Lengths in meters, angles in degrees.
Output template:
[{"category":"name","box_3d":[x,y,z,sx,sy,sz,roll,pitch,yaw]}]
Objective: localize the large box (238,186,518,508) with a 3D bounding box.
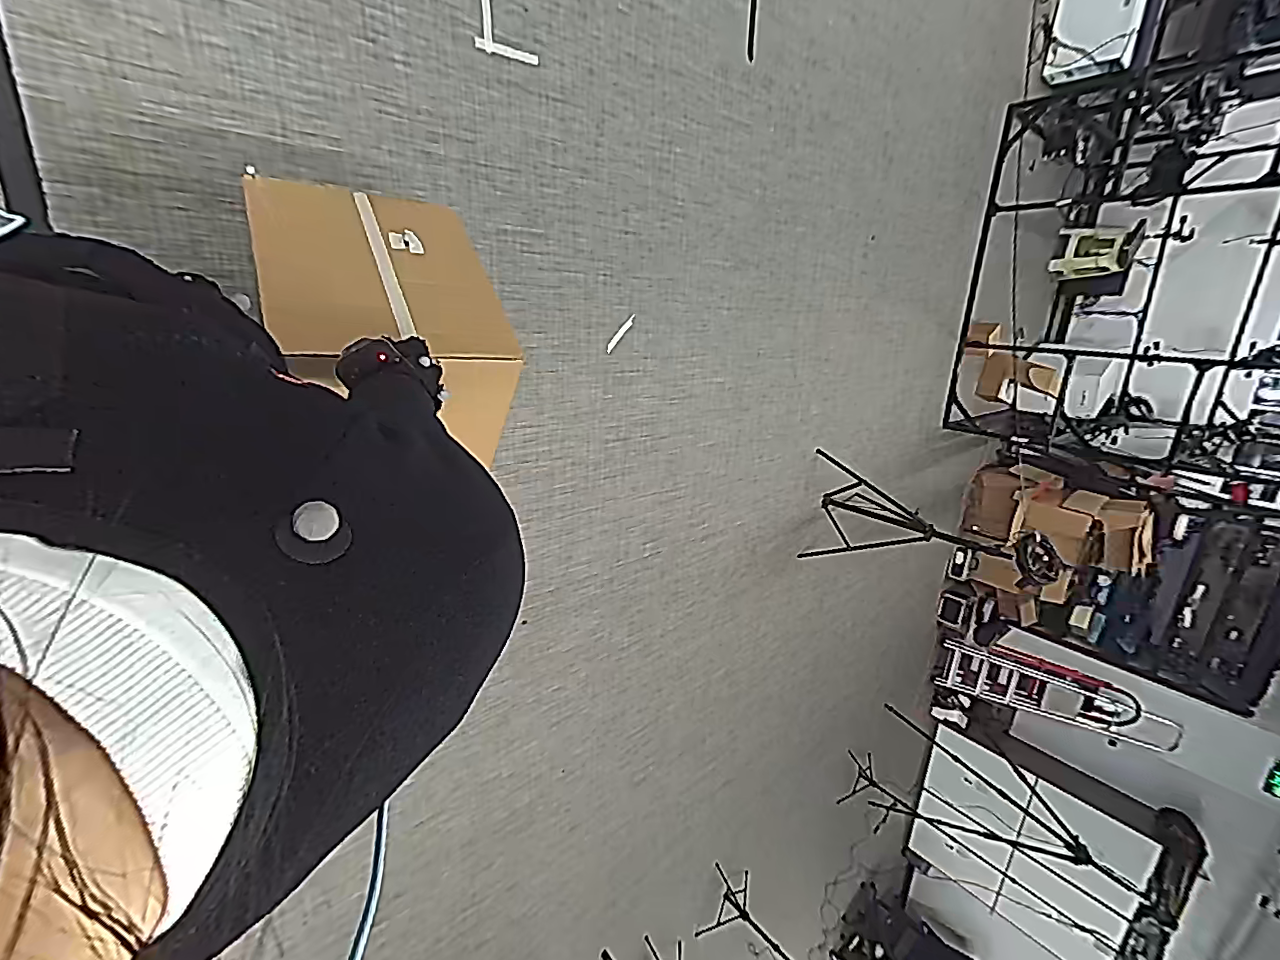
[{"category":"large box","box_3d":[-0.448,-0.217,0.908,0.320,0.408,0.320,-8,145,-36]}]
